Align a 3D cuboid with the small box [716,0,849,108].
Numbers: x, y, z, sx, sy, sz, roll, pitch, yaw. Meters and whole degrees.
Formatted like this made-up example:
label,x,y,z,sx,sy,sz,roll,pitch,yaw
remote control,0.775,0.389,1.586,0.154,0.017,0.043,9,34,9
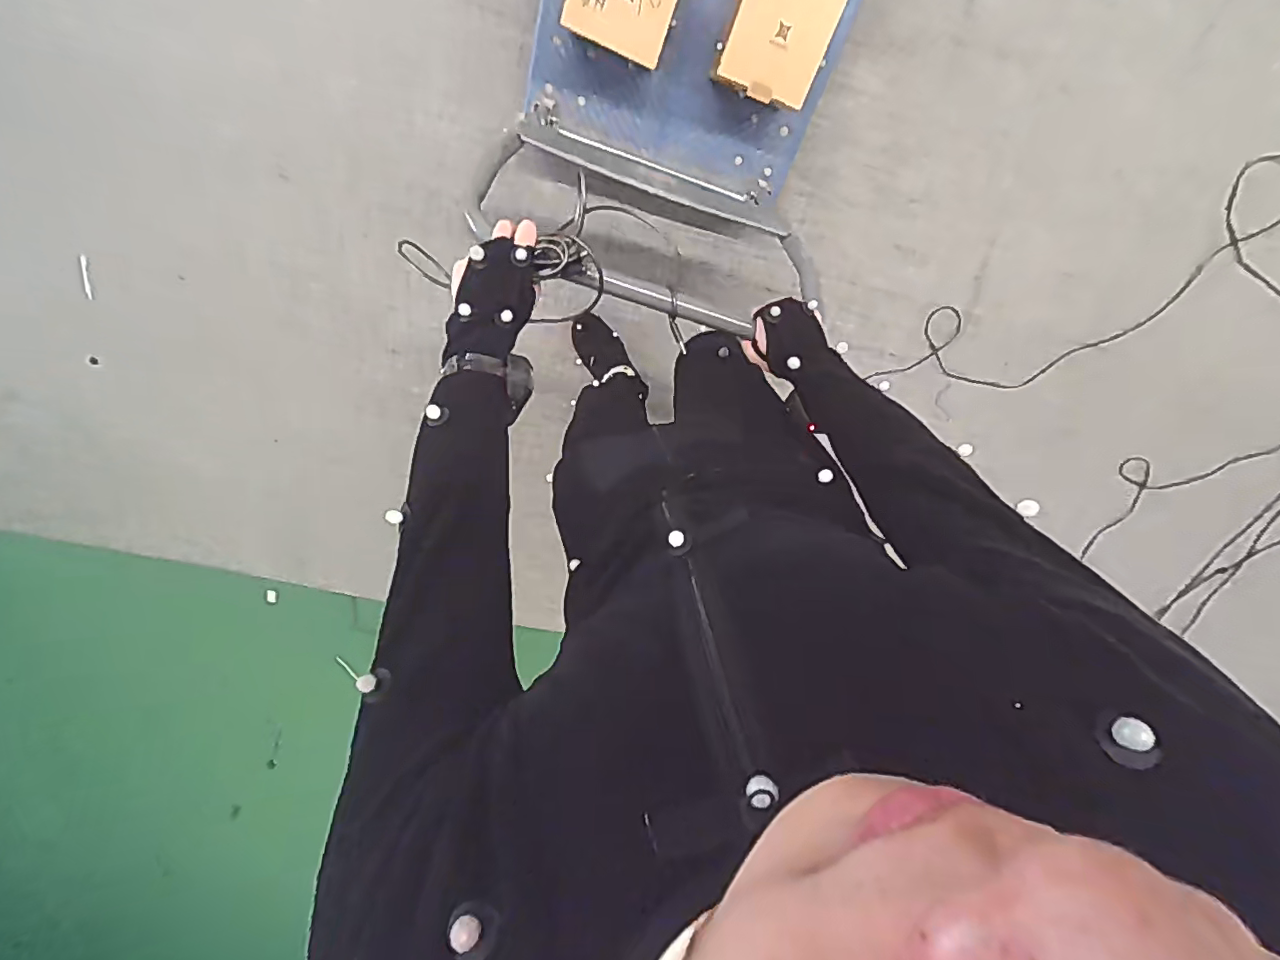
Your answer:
label,x,y,z,sx,sy,sz,roll,pitch,yaw
small box,0.246,-0.807,0.977,0.168,0.176,0.179,16,126,-11
